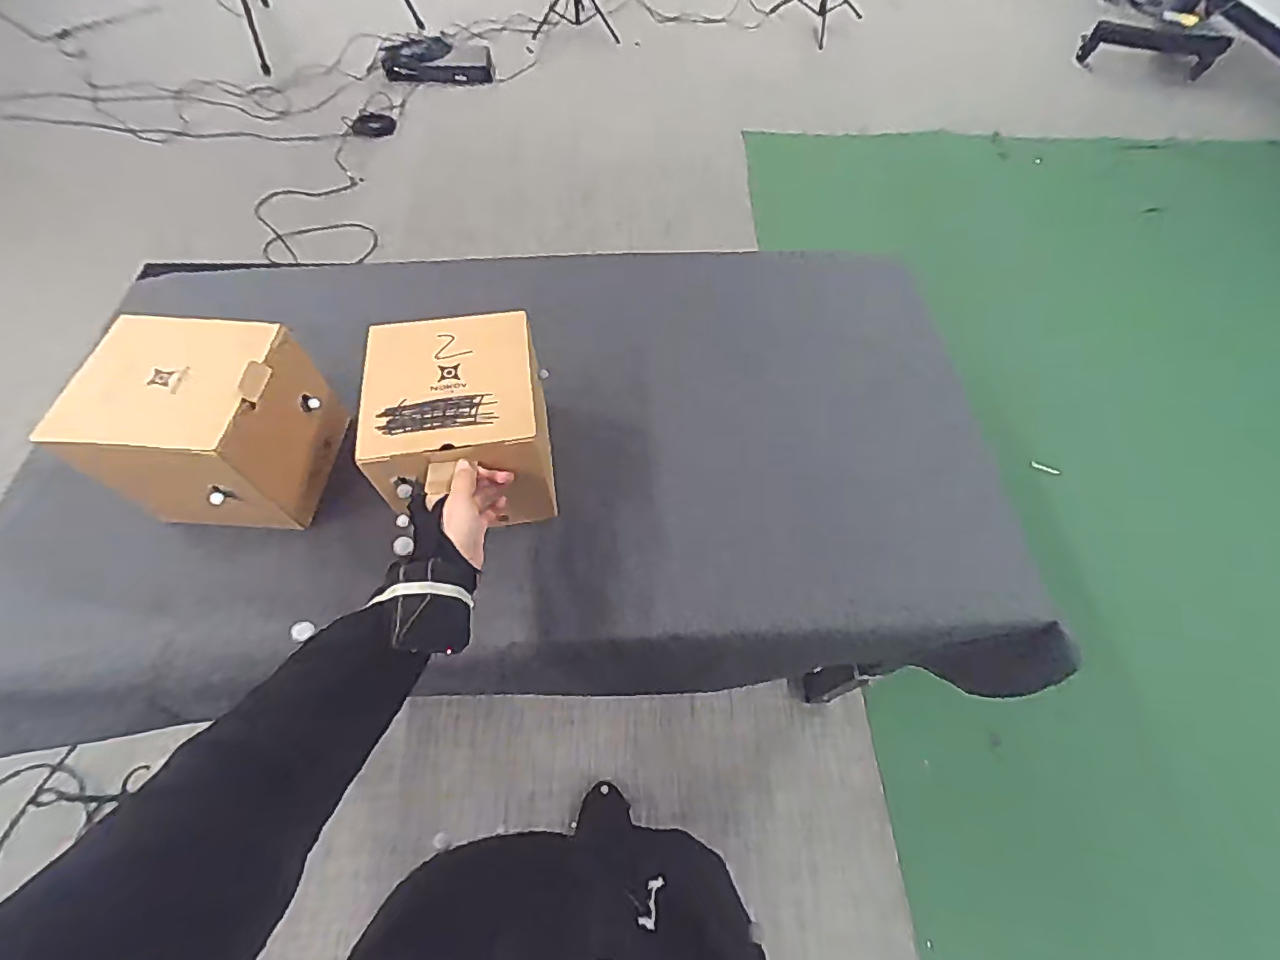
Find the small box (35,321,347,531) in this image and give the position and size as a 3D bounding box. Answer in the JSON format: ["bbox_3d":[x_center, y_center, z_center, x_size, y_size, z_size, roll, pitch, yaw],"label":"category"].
[{"bbox_3d":[-0.462,-0.052,0.599,0.179,0.176,0.168,2,58,0],"label":"small box"}]
